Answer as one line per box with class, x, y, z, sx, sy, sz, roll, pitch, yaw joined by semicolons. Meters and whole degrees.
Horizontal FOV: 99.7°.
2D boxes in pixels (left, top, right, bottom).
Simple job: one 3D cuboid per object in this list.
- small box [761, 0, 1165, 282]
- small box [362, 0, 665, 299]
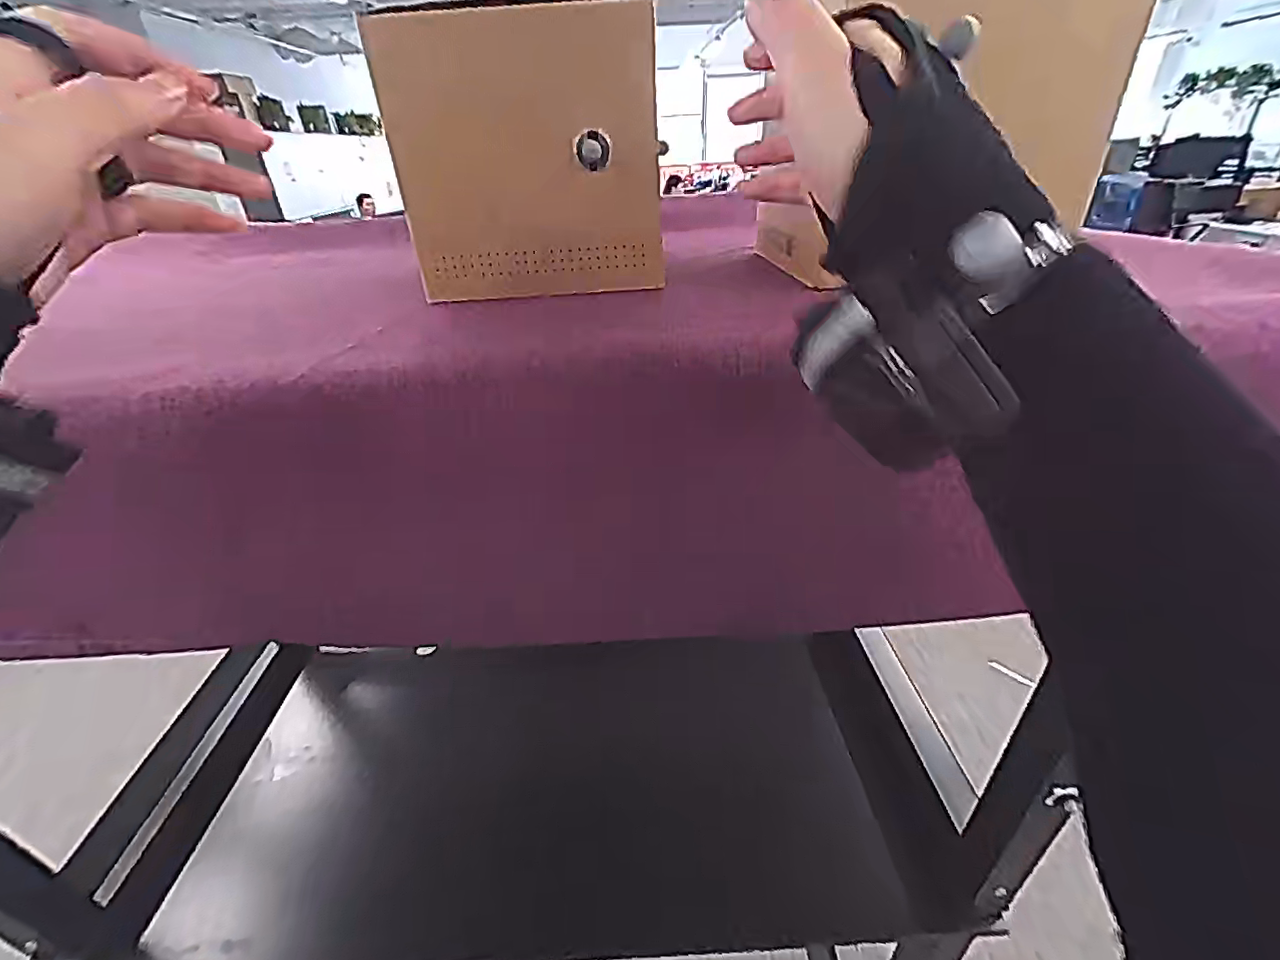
small box;0.195;-0.247;0.387;0.179;0.176;0.168;-4;31;-2
small box;-0.071;-0.246;0.418;0.179;0.176;0.168;-4;31;1
